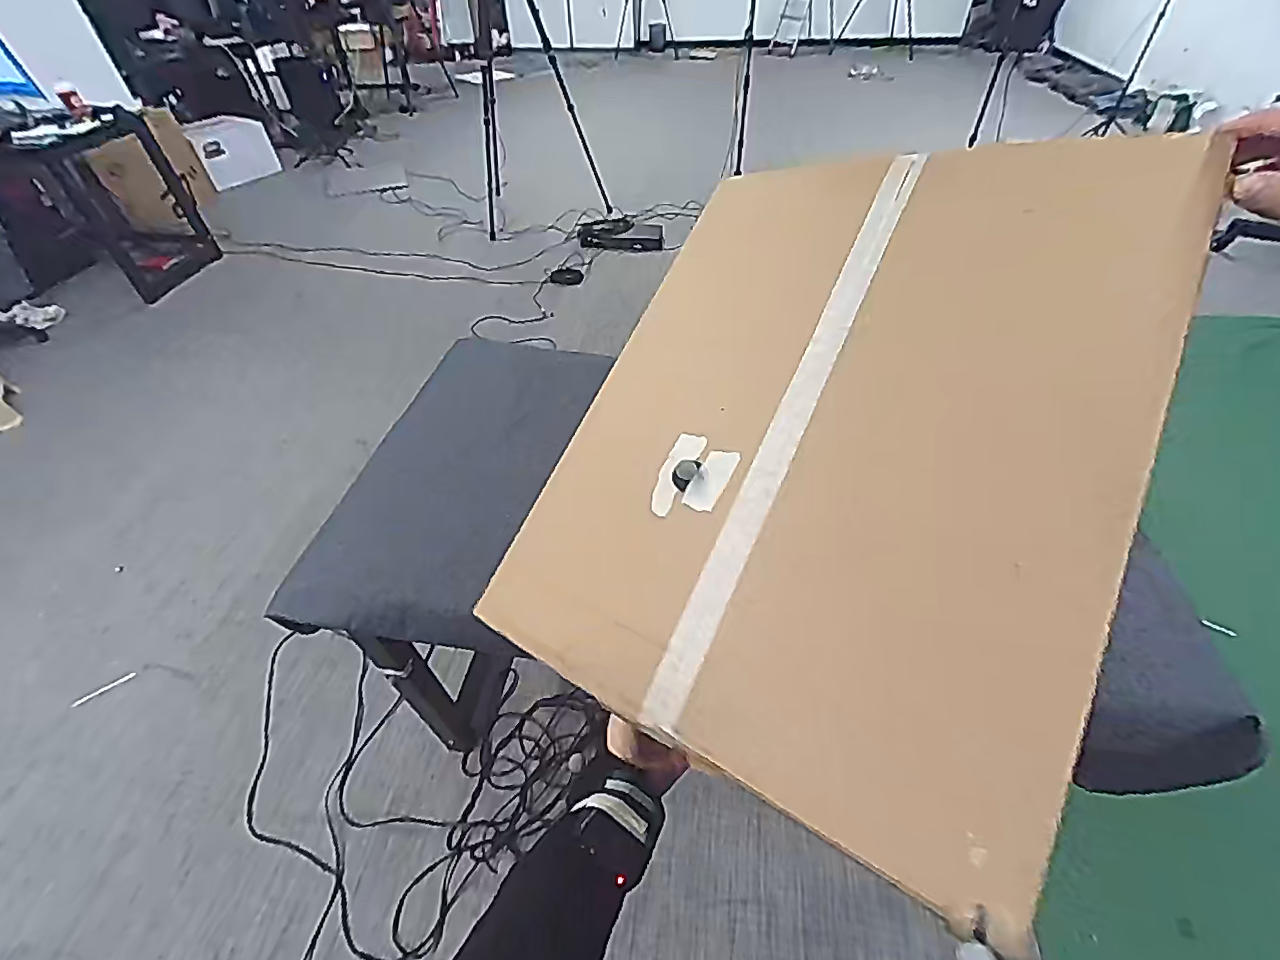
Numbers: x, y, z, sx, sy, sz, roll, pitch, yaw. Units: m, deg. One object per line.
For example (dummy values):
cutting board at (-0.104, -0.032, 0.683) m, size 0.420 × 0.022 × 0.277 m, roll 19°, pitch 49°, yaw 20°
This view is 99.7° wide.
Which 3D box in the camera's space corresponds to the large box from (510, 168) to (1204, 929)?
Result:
large box at (0.174, 0.025, 0.455) m, size 0.320 × 0.320 × 0.408 m, roll 16°, pitch 74°, yaw 35°
